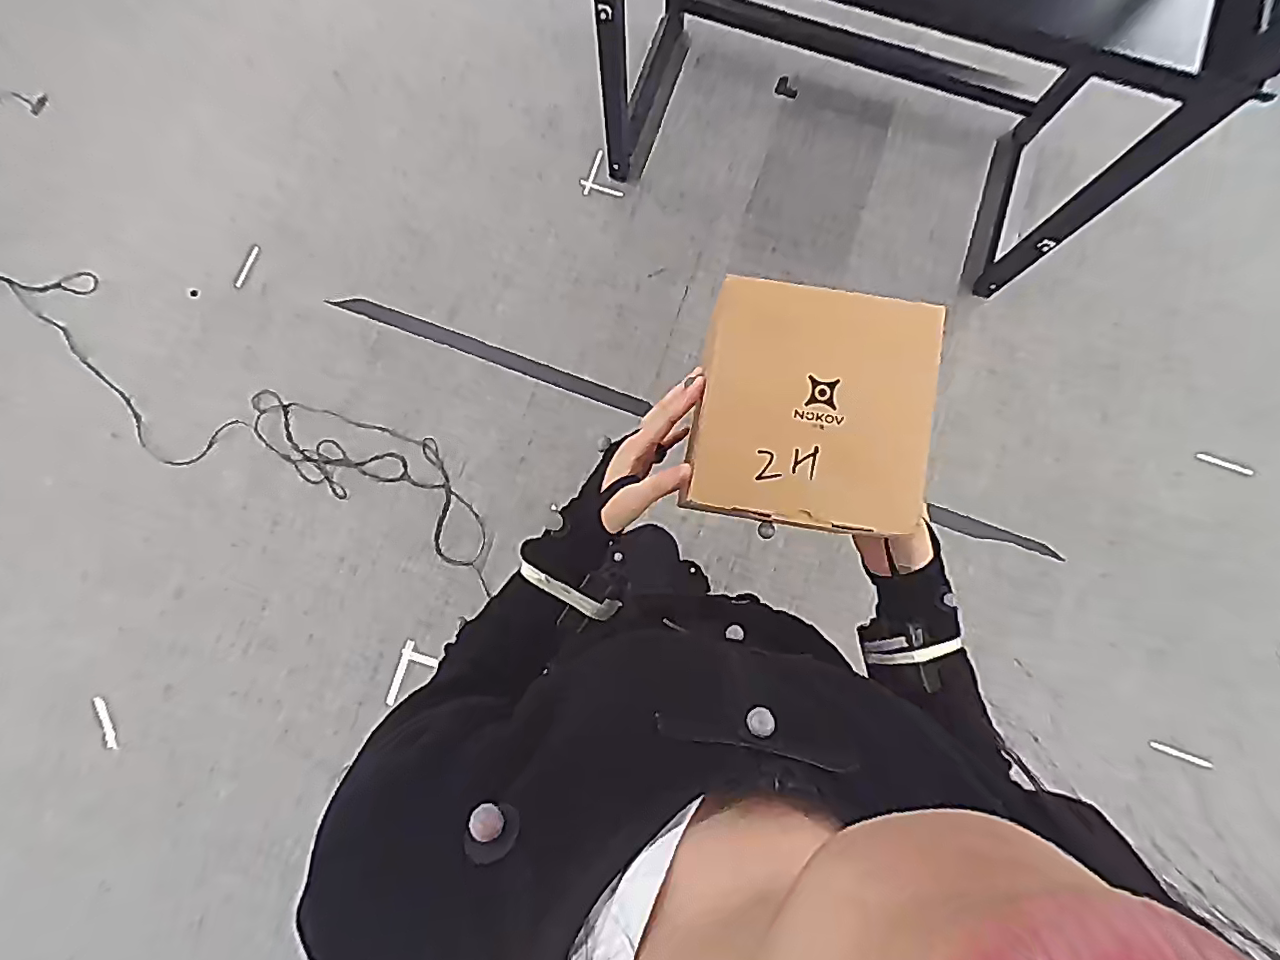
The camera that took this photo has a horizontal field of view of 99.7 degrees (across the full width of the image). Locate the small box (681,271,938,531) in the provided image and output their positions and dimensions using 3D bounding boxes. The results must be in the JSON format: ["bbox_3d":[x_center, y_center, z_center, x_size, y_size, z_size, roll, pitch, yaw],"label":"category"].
[{"bbox_3d":[0.131,-0.055,0.481,0.168,0.176,0.179,9,87,2],"label":"small box"}]
